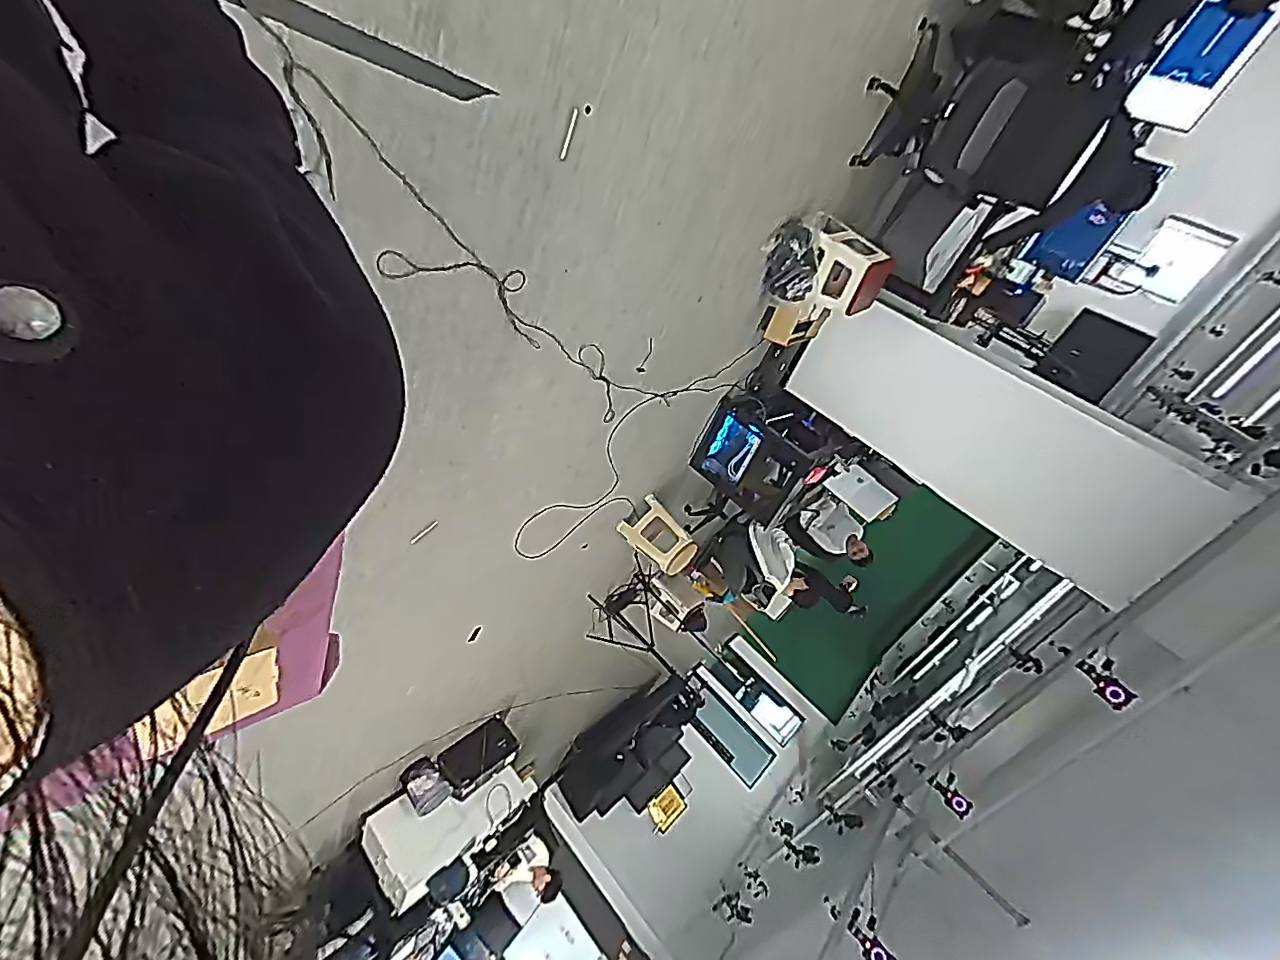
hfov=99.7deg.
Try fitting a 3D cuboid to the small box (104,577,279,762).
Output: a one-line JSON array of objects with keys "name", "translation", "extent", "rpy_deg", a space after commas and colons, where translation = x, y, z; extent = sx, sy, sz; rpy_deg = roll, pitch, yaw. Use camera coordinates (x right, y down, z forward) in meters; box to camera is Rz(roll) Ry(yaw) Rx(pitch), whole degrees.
[{"name": "small box", "translation": [-0.688, 0.282, 0.836], "extent": [0.179, 0.176, 0.168], "rpy_deg": [-19, 144, -47]}]
